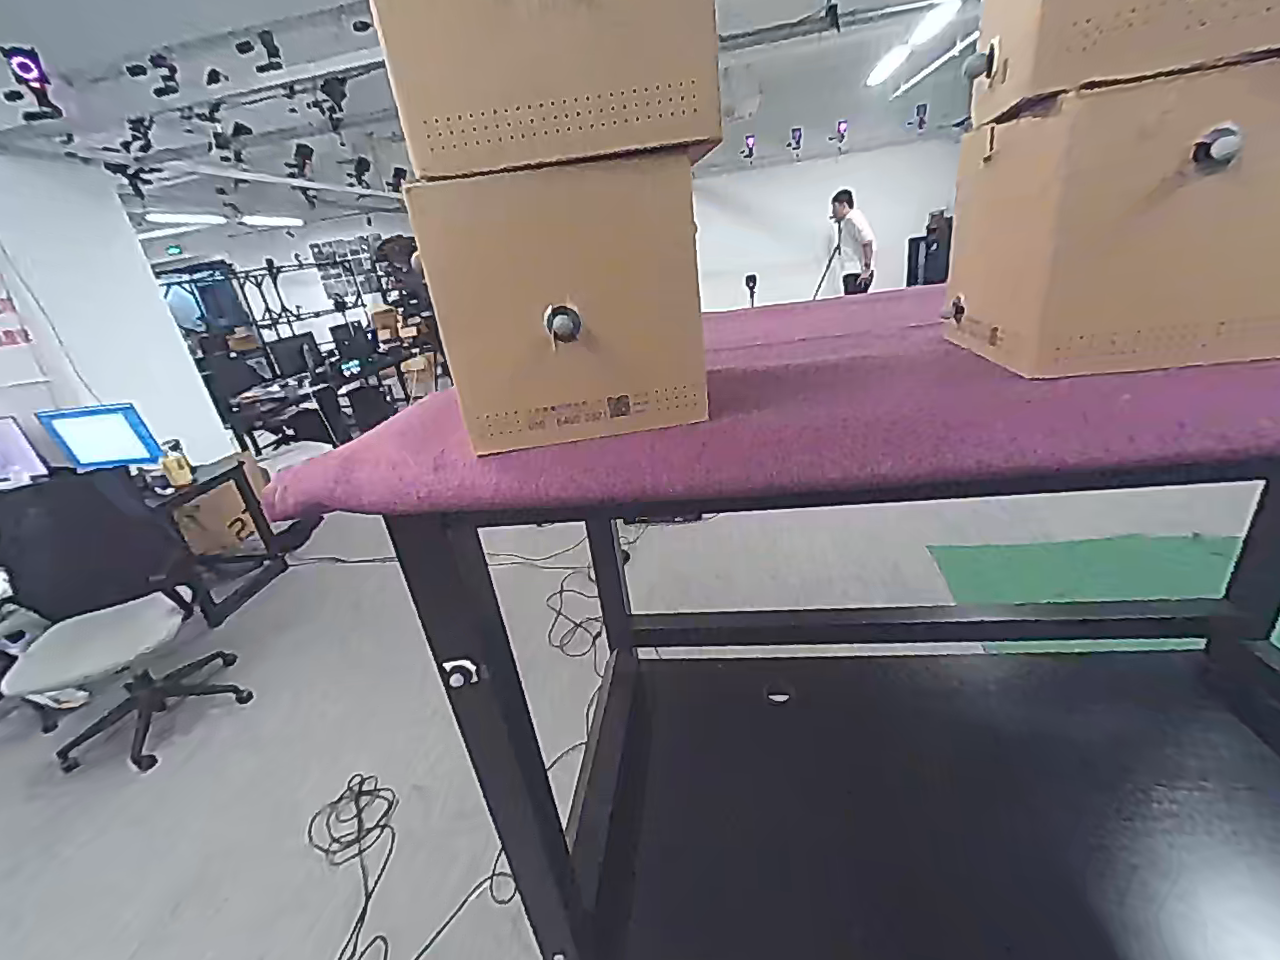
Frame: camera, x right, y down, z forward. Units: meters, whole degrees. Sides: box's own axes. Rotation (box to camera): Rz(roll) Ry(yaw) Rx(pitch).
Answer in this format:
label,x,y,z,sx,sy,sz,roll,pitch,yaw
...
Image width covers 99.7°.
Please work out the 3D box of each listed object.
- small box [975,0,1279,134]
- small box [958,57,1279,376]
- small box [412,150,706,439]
label,x,y,z,sx,sy,sz,roll,pitch,yaw
small box,0.322,-0.323,0.320,0.179,0.176,0.168,0,24,20
small box,0.348,-0.176,0.384,0.179,0.176,0.168,-3,24,11
small box,-0.047,-0.135,0.415,0.168,0.176,0.179,-8,24,-2
